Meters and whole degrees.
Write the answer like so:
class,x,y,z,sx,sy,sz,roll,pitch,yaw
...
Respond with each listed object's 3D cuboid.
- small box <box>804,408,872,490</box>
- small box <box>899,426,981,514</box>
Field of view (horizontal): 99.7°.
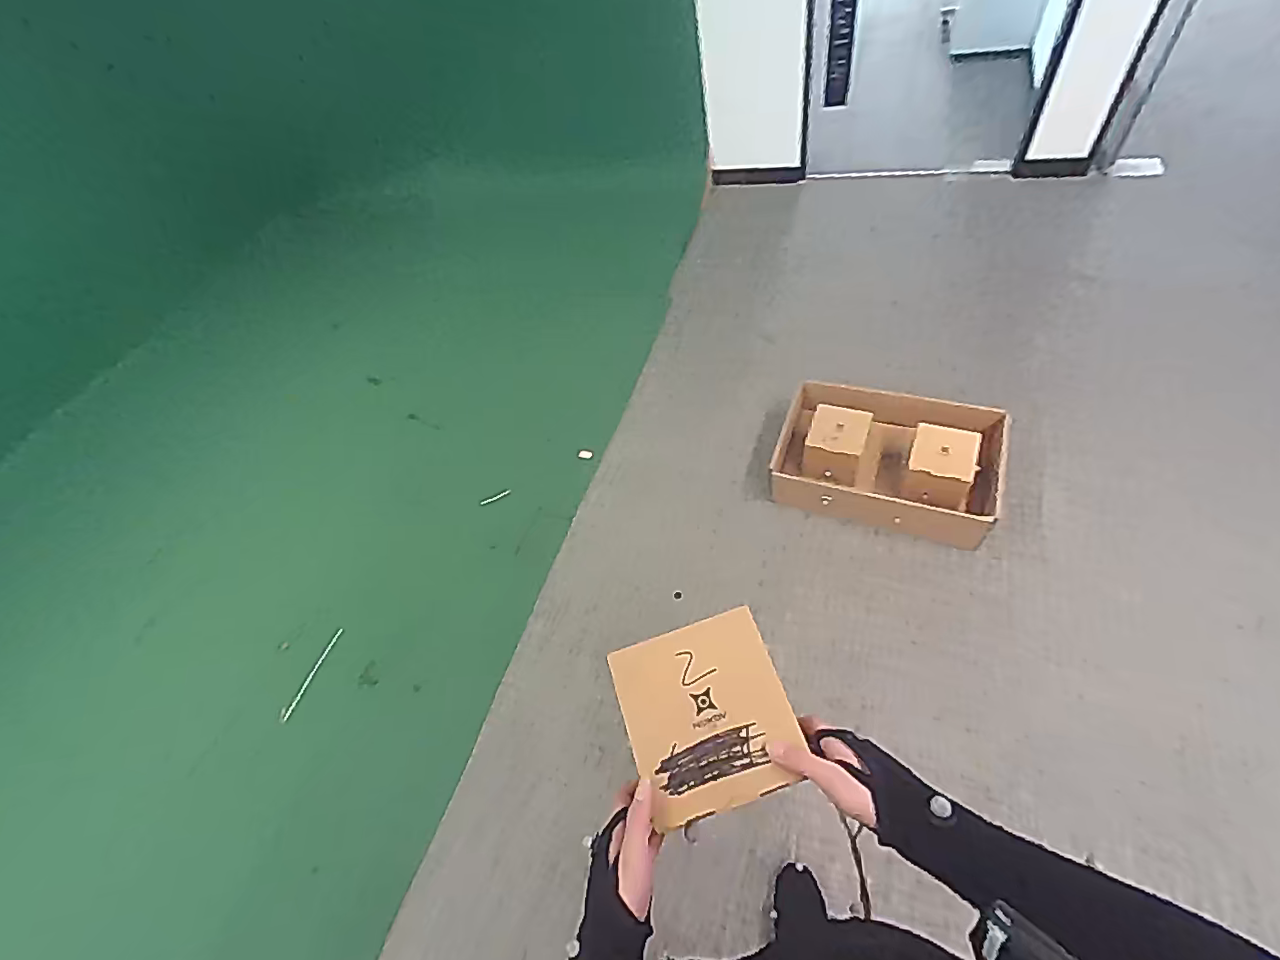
class,x,y,z,sx,sy,sz,roll,pitch,yaw
small box,0.620,-0.098,1.708,0.168,0.176,0.179,14,60,22
small box,0.880,-0.028,1.596,0.168,0.176,0.179,15,61,23
